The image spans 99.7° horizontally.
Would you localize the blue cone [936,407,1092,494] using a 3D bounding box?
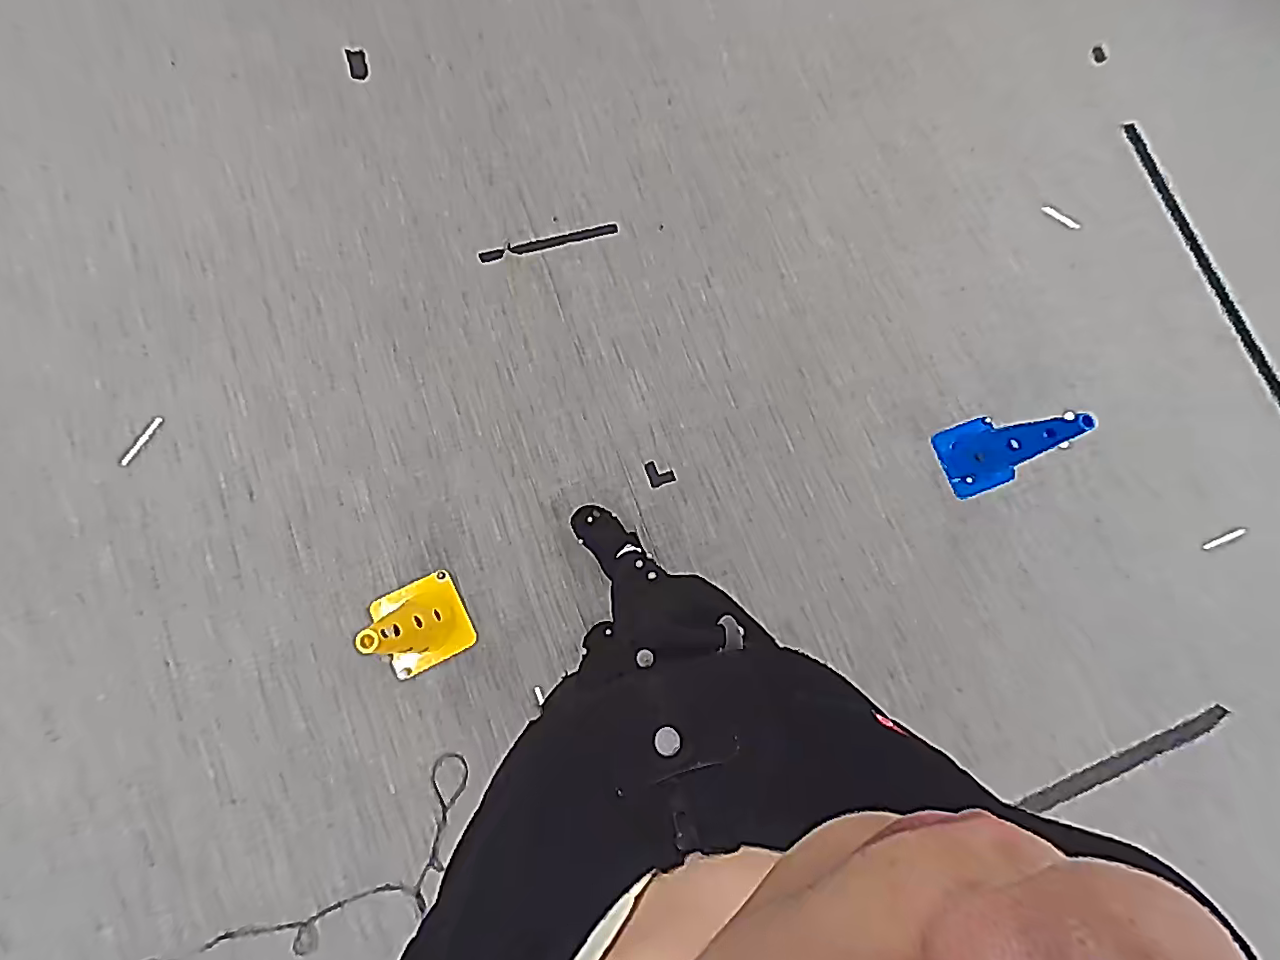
[{"bbox_3d":[0.961,-0.099,1.363,0.193,0.380,0.192,-18,81,-9],"label":"blue cone"}]
